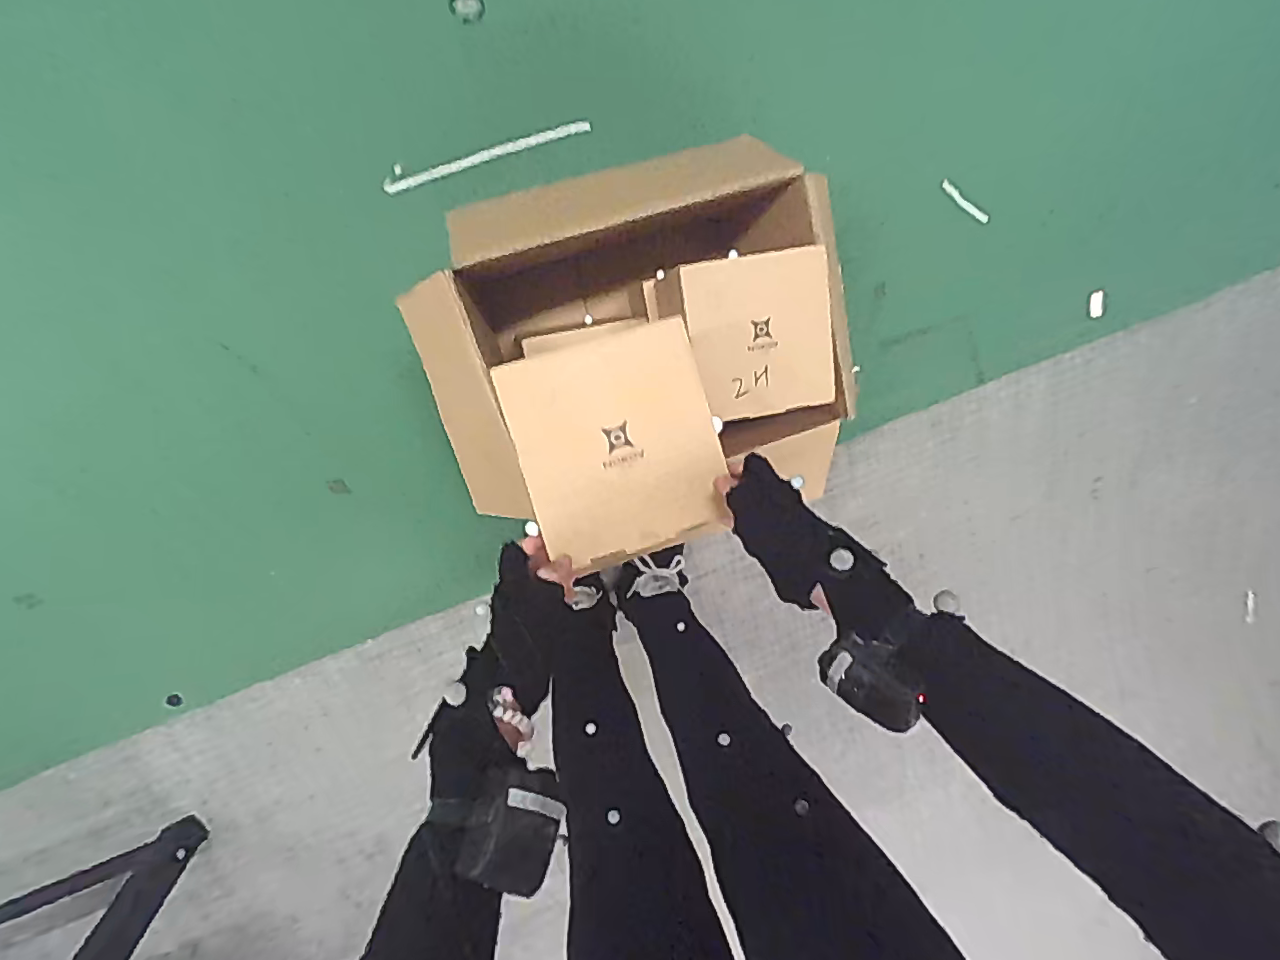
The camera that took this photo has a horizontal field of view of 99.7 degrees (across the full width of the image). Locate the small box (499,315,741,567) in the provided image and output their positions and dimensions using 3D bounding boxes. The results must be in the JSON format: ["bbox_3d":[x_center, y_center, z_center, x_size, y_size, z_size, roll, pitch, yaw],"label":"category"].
[{"bbox_3d":[-0.027,-0.034,0.521,0.168,0.176,0.179,-17,94,-8],"label":"small box"}]
